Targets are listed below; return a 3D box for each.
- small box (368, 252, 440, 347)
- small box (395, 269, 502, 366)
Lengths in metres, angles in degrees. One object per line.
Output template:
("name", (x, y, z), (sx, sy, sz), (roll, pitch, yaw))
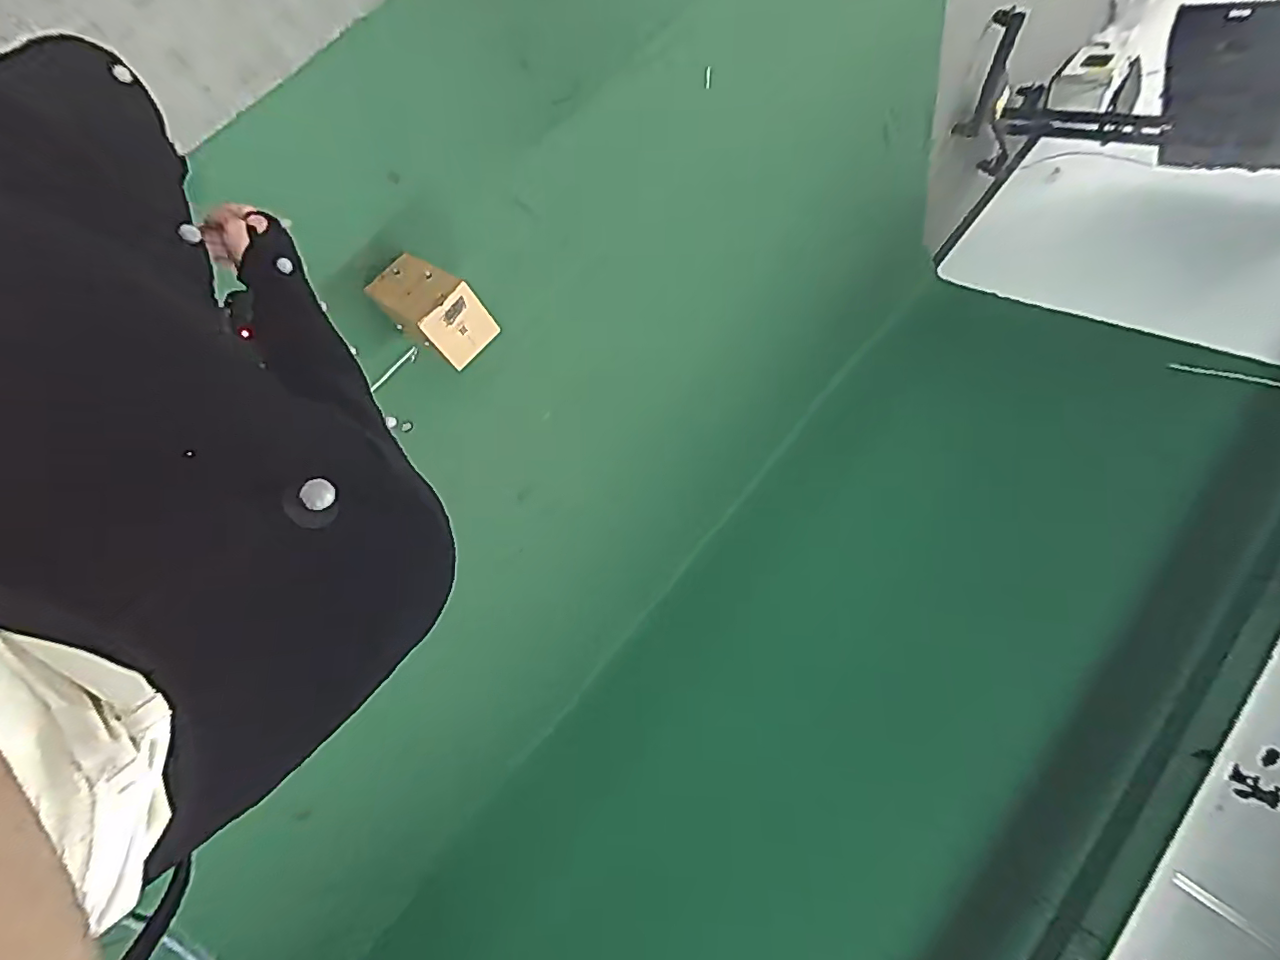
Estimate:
("small box", (-0.629, -0.518, 1.544), (0.168, 0.176, 0.179), (-49, 145, -11))
("small box", (-0.516, -0.443, 1.453), (0.168, 0.176, 0.179), (-49, 146, -11))
